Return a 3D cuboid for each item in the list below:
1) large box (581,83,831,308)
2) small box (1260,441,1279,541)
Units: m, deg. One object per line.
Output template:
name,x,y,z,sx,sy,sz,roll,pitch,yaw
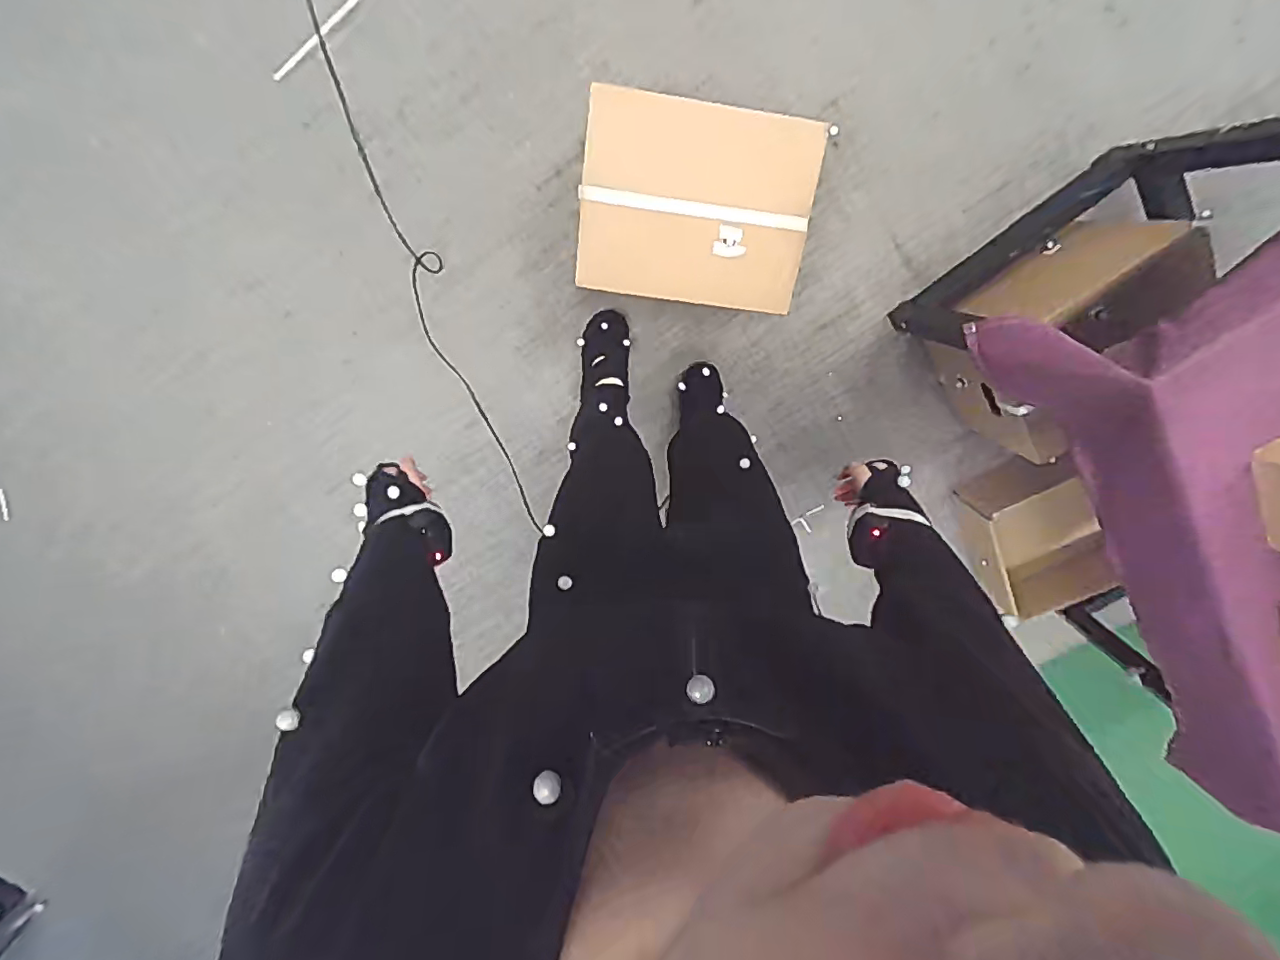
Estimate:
large box,0.093,-0.537,1.070,0.408,0.320,0.320,5,115,-6
small box,0.907,0.017,0.638,0.168,0.176,0.179,-33,112,12
